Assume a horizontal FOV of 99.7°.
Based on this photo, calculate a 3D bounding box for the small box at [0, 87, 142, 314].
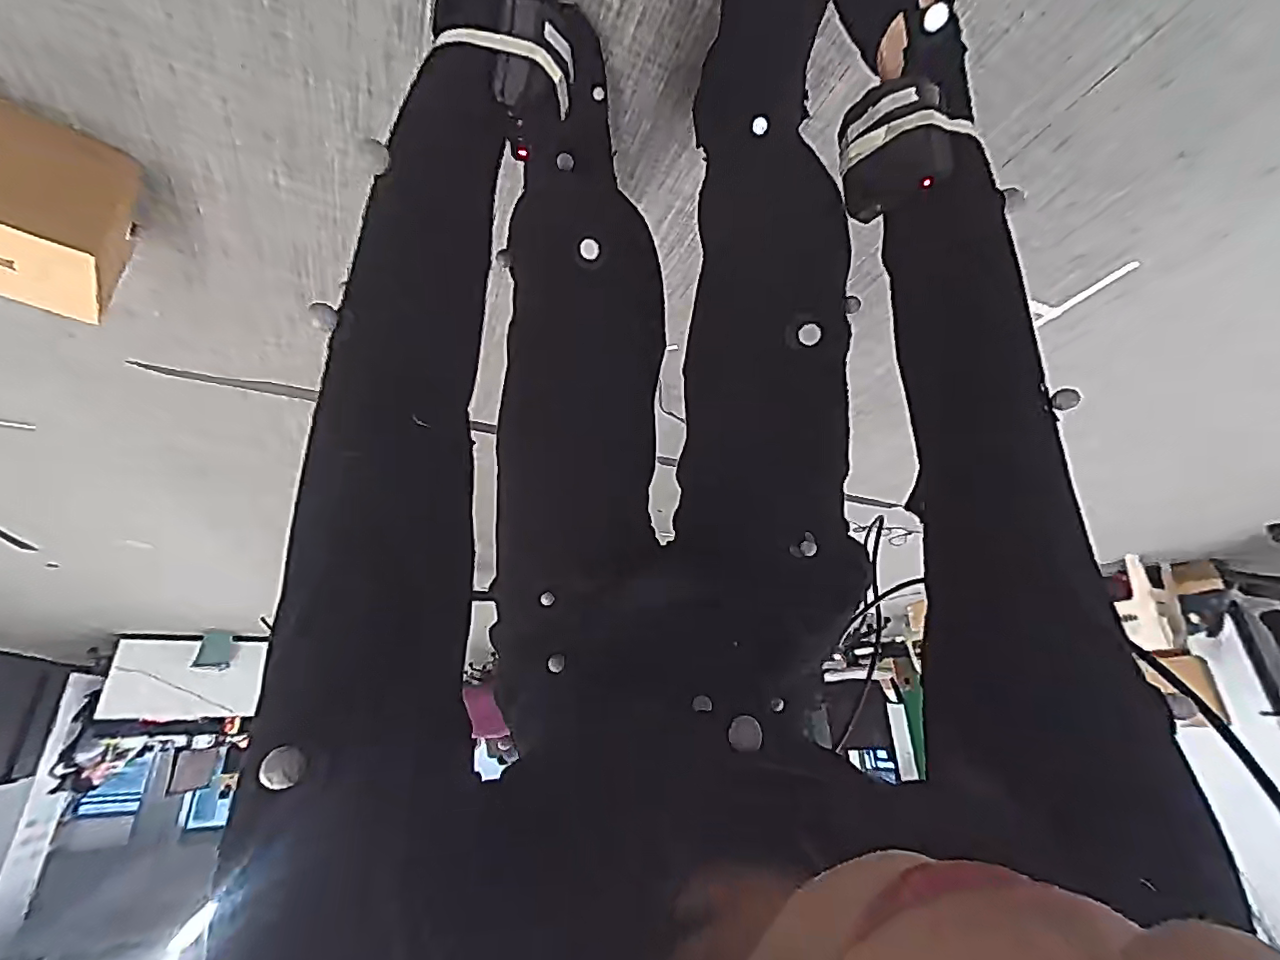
[{"bbox_3d":[-0.760,-0.347,0.667,0.179,0.176,0.168,17,152,-38],"label":"small box"}]
